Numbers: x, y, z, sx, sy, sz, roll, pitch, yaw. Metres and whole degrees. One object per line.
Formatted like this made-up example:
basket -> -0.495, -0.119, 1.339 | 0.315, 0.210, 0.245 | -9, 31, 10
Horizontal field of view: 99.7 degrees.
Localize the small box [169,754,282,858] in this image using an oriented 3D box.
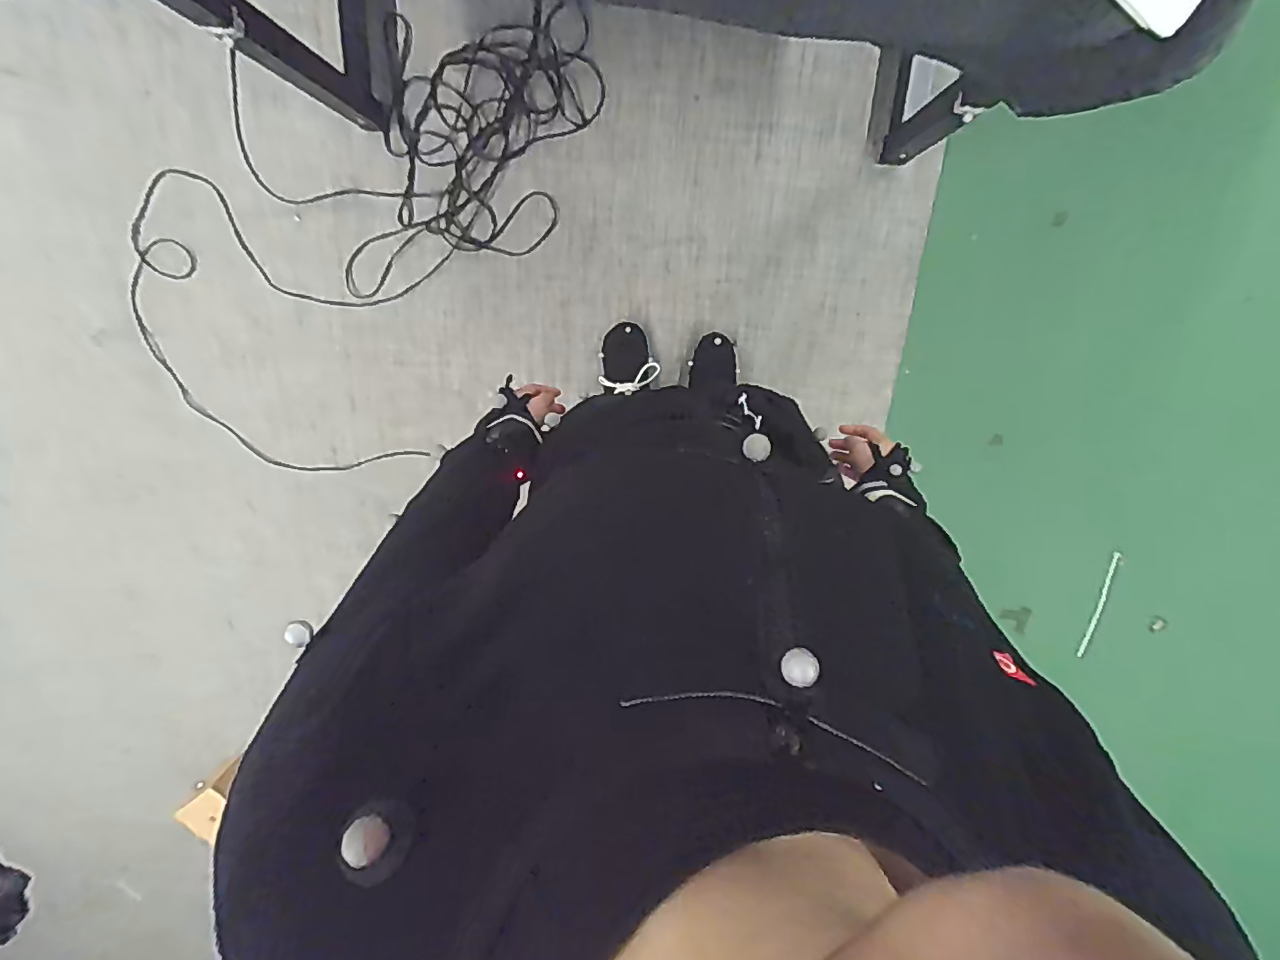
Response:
small box -> -1.238, 0.976, 1.630 | 0.179, 0.176, 0.168 | -38, 103, 11
